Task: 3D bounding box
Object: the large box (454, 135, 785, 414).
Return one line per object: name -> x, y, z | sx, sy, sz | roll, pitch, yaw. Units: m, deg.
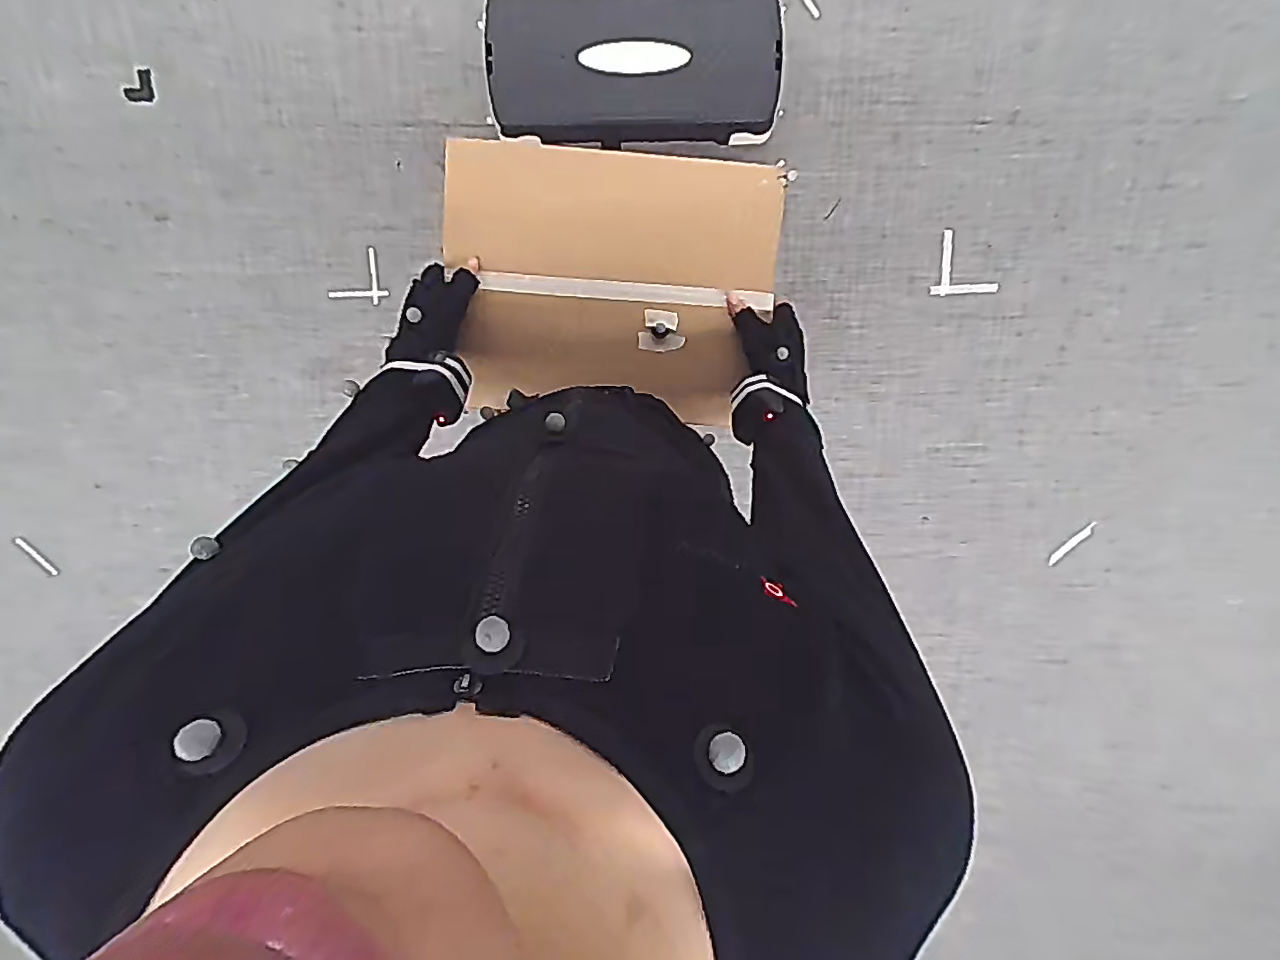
large box -> -0.035, -0.272, 0.816 | 0.408, 0.320, 0.320 | 4, 100, -2
